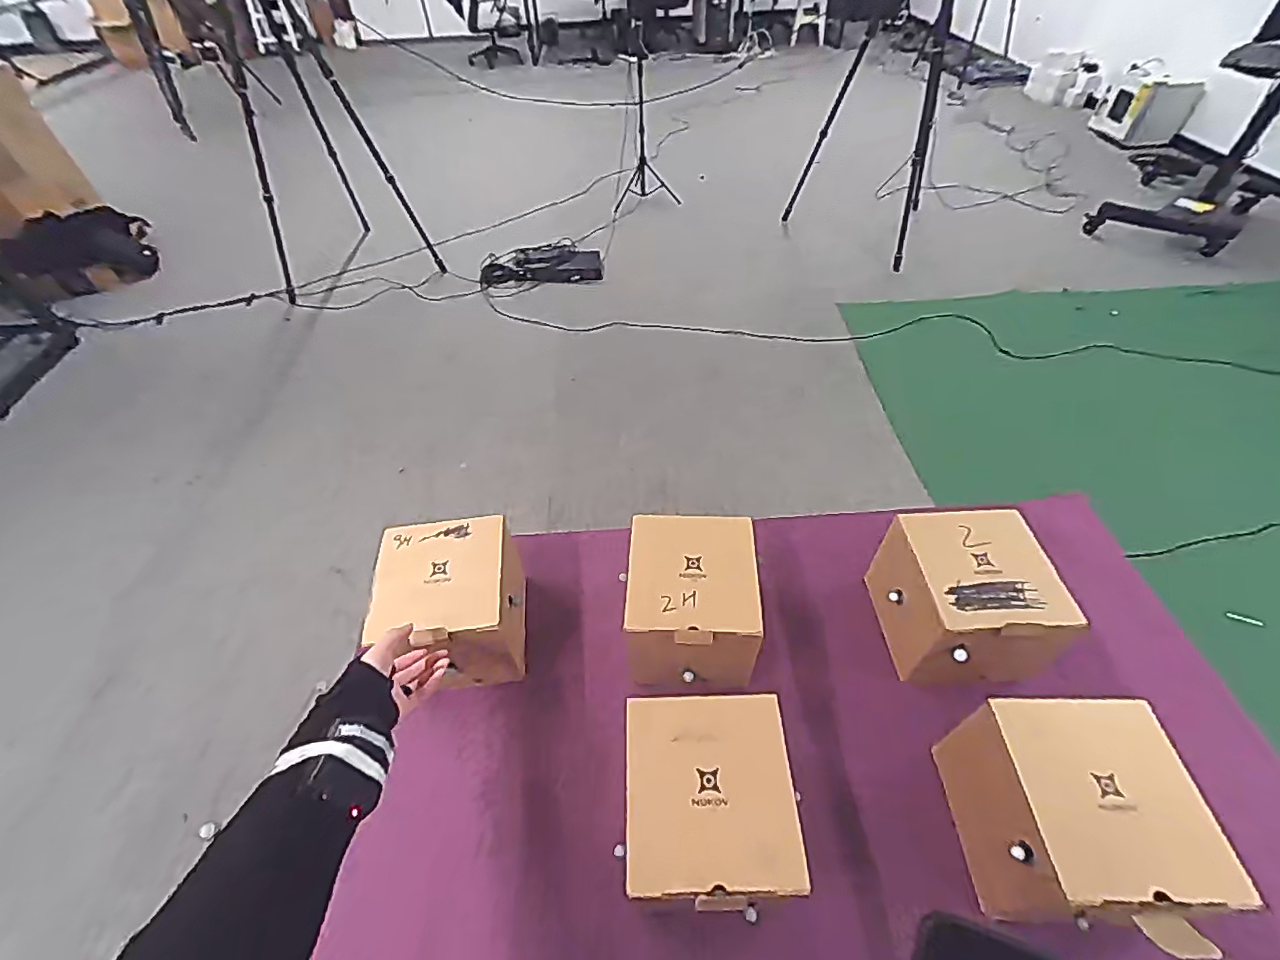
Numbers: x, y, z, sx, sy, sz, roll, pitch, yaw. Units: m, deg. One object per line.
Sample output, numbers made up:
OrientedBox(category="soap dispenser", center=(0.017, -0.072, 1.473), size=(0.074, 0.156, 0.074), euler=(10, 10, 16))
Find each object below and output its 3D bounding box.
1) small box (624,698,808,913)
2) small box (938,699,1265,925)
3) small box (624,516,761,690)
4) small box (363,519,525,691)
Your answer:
OrientedBox(category="small box", center=(0.070, 0.357, 0.589), size=(0.168, 0.176, 0.179), euler=(-2, 47, 1))
OrientedBox(category="small box", center=(0.449, 0.351, 0.572), size=(0.168, 0.176, 0.179), euler=(-1, 49, 3))
OrientedBox(category="small box", center=(0.069, 0.171, 0.751), size=(0.168, 0.176, 0.179), euler=(1, 49, 4))
OrientedBox(category="small box", center=(-0.258, 0.181, 0.759), size=(0.168, 0.176, 0.179), euler=(-7, 49, -4))
